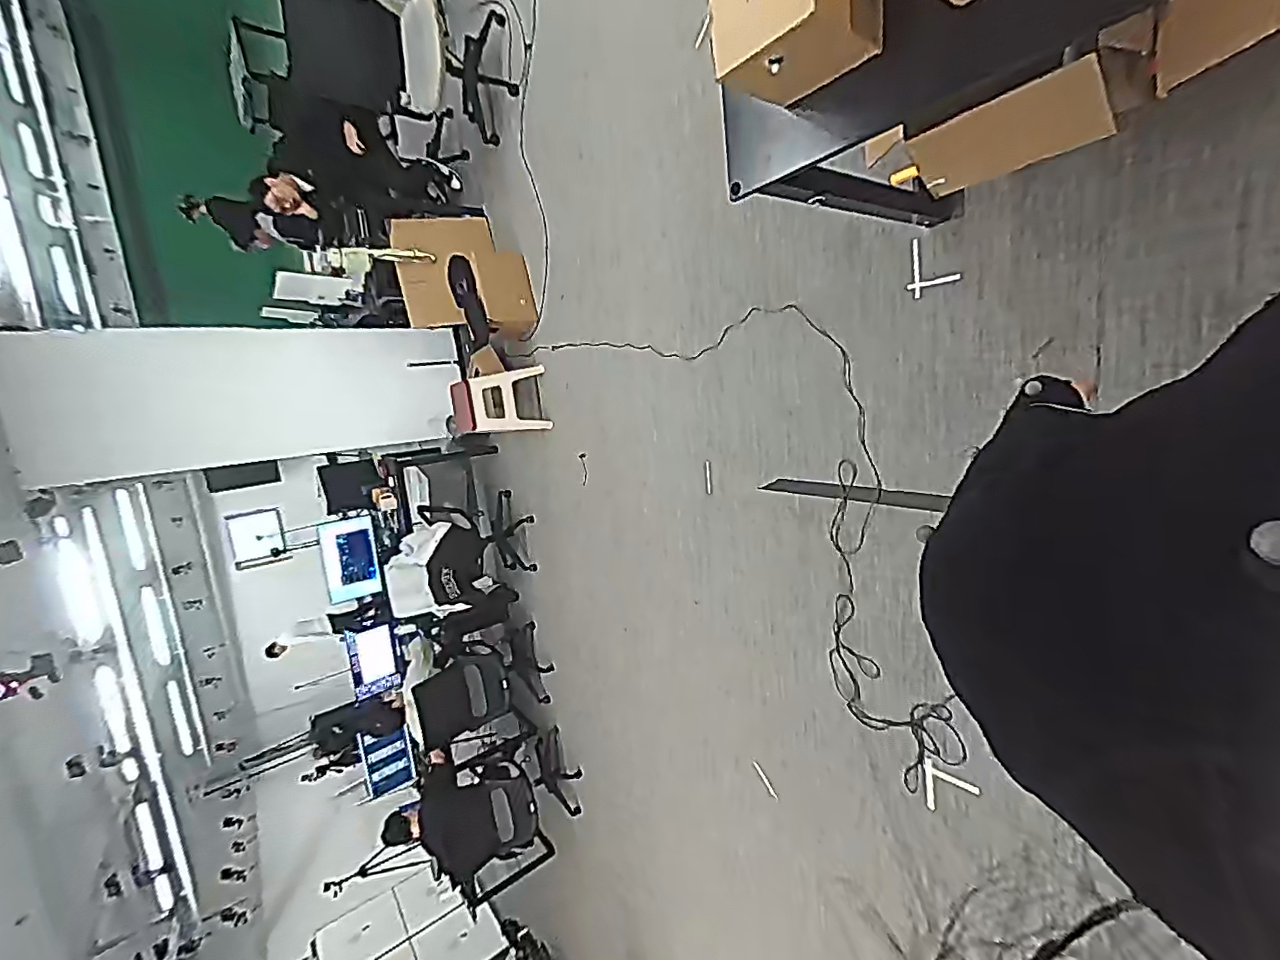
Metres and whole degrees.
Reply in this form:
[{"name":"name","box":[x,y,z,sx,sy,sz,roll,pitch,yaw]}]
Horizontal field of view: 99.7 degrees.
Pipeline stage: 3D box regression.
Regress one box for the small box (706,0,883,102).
[{"name":"small box","box":[0.211,-0.662,0.748,0.179,0.176,0.168,8,107,52]}]
